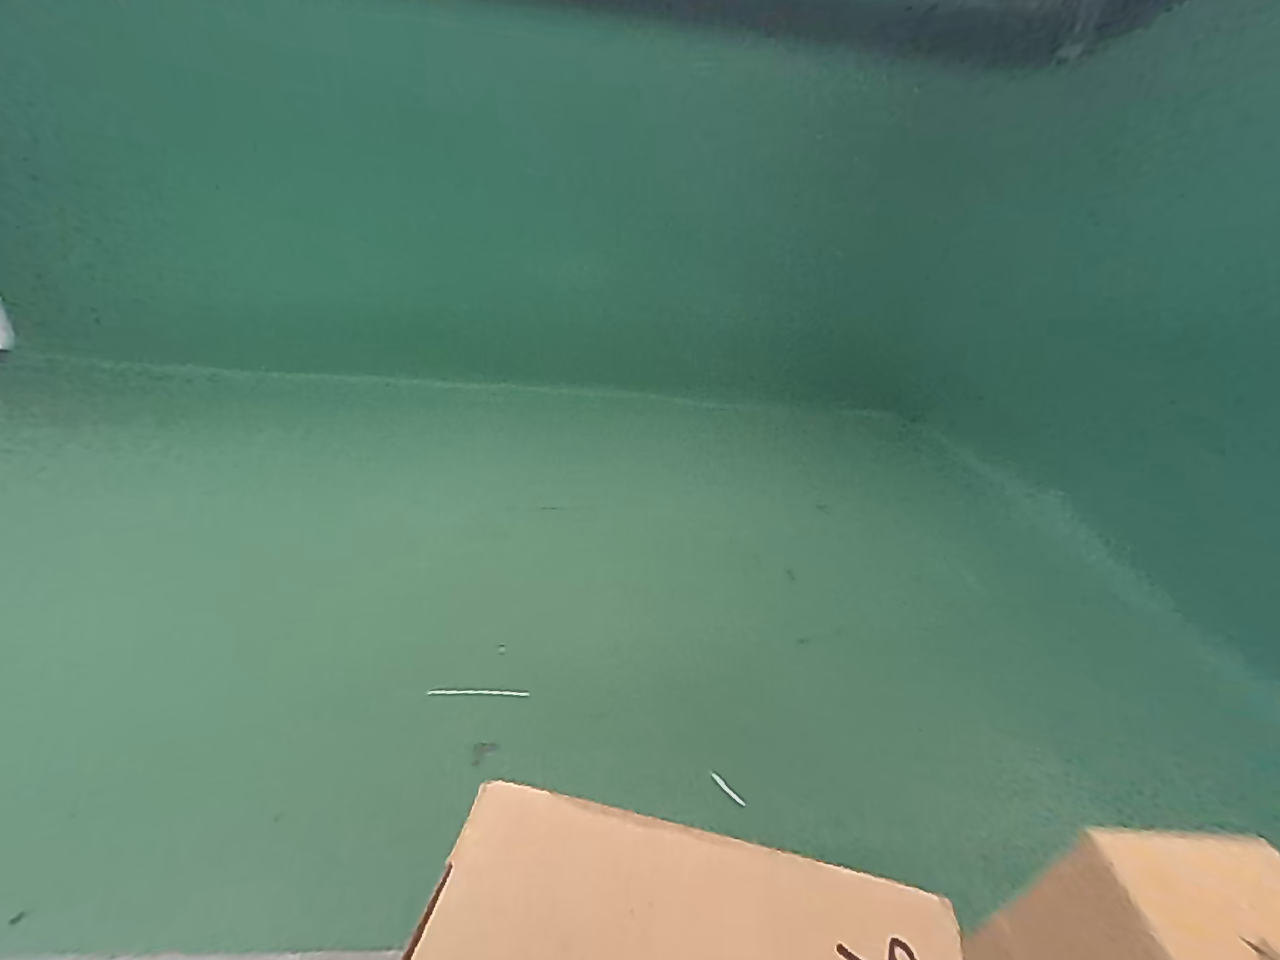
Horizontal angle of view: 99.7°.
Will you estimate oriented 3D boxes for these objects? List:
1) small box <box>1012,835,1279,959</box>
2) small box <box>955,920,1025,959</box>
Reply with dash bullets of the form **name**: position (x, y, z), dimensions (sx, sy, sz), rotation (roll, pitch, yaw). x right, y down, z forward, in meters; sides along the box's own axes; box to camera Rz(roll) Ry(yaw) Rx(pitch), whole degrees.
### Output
- **small box**: position (0.450, 0.423, 0.431), dimensions (0.168, 0.176, 0.179), rotation (6, 33, -2)
- **small box**: position (0.428, 0.561, 0.516), dimensions (0.168, 0.176, 0.179), rotation (5, 32, -4)
